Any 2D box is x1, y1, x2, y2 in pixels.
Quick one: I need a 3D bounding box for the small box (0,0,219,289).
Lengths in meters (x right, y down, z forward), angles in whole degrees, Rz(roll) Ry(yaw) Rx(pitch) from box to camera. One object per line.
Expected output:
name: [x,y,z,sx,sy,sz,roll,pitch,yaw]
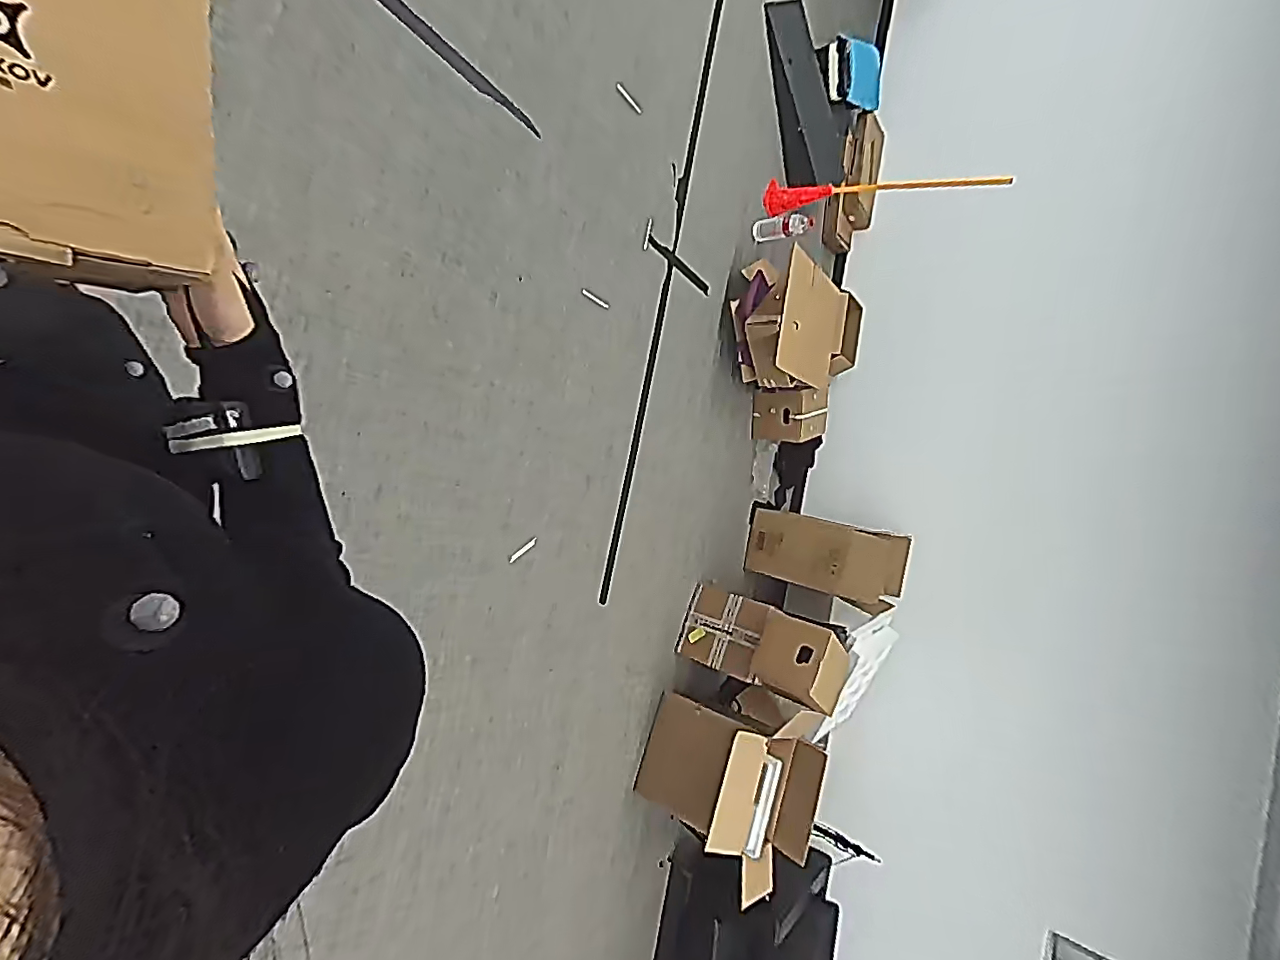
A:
small box: [-0.355,-0.209,0.292,0.168,0.176,0.179,-7,105,-54]
